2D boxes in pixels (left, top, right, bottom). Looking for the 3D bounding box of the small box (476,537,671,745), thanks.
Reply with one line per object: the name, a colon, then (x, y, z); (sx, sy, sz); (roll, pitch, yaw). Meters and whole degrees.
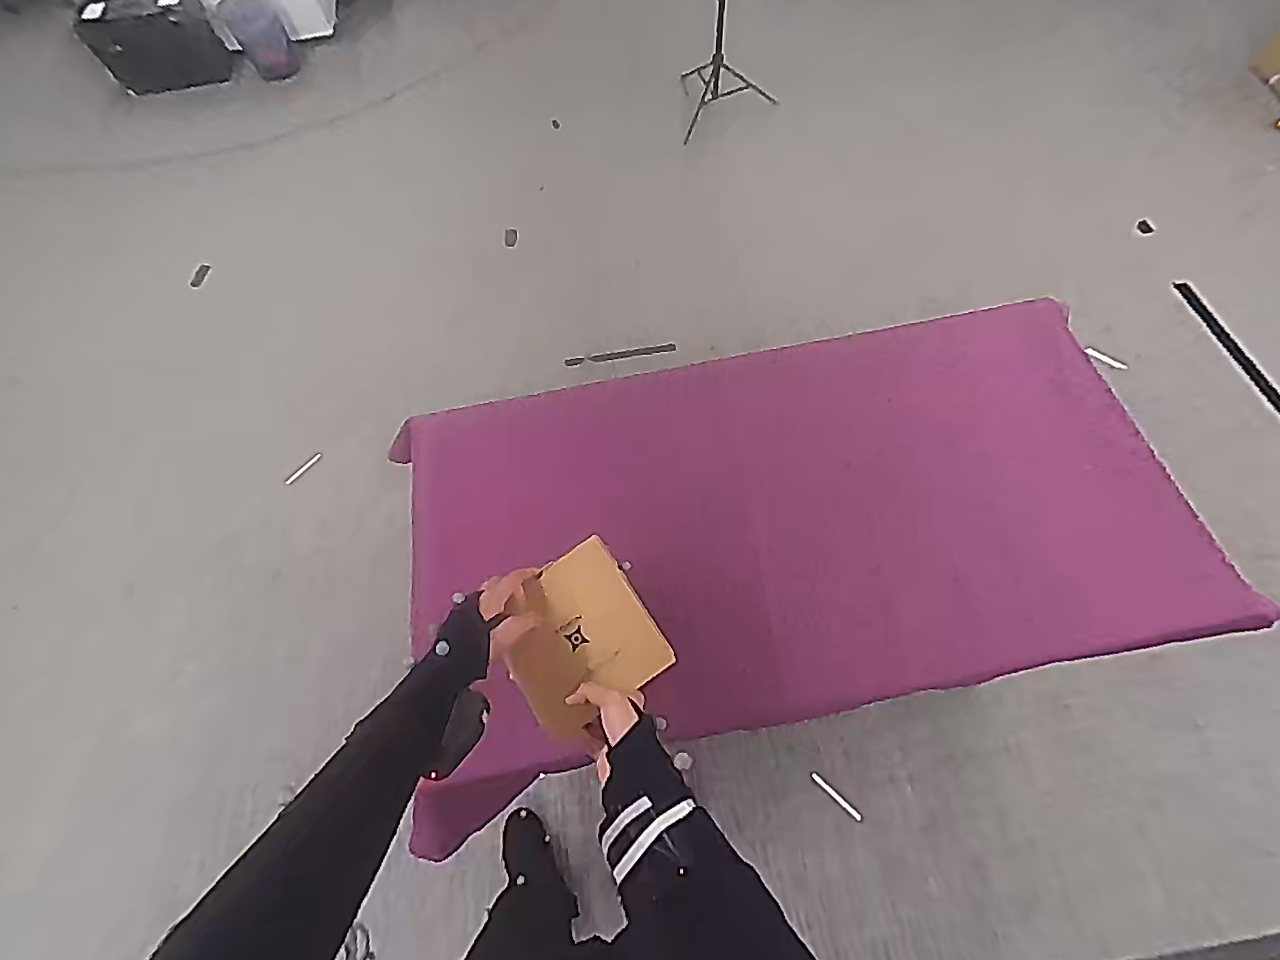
small box: (-0.075, 0.197, 0.686); (0.168, 0.176, 0.179); (-32, 76, -5)
